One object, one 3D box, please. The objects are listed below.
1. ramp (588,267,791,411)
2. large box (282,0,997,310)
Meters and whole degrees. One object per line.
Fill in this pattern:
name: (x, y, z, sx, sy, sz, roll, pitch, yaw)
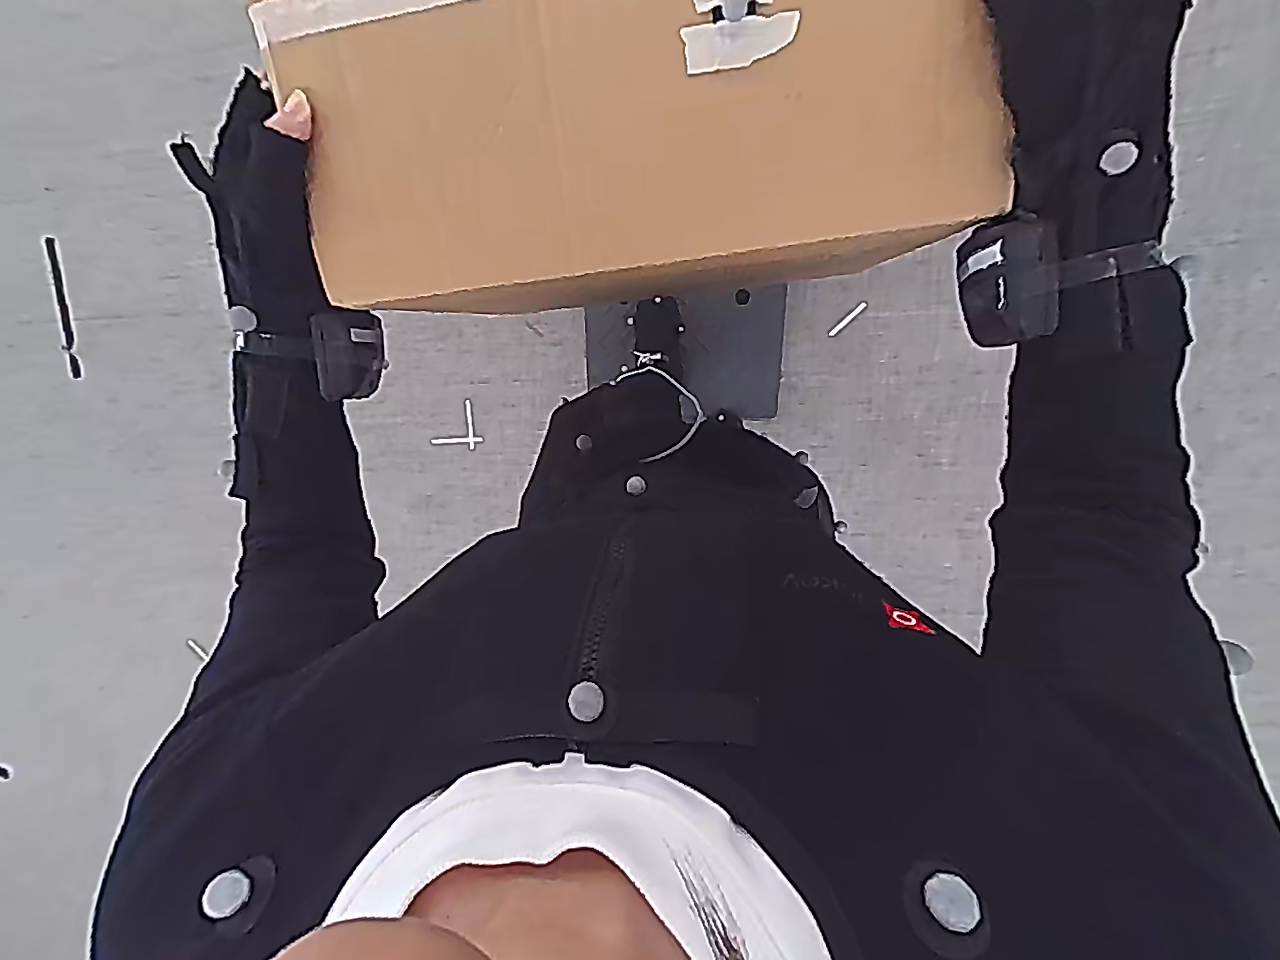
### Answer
ramp: (0.108, -0.646, 1.228, 0.509, 0.206, 0.991, 1, 102, 8)
large box: (0.000, -0.328, 0.436, 0.408, 0.320, 0.320, -5, 106, 9)
